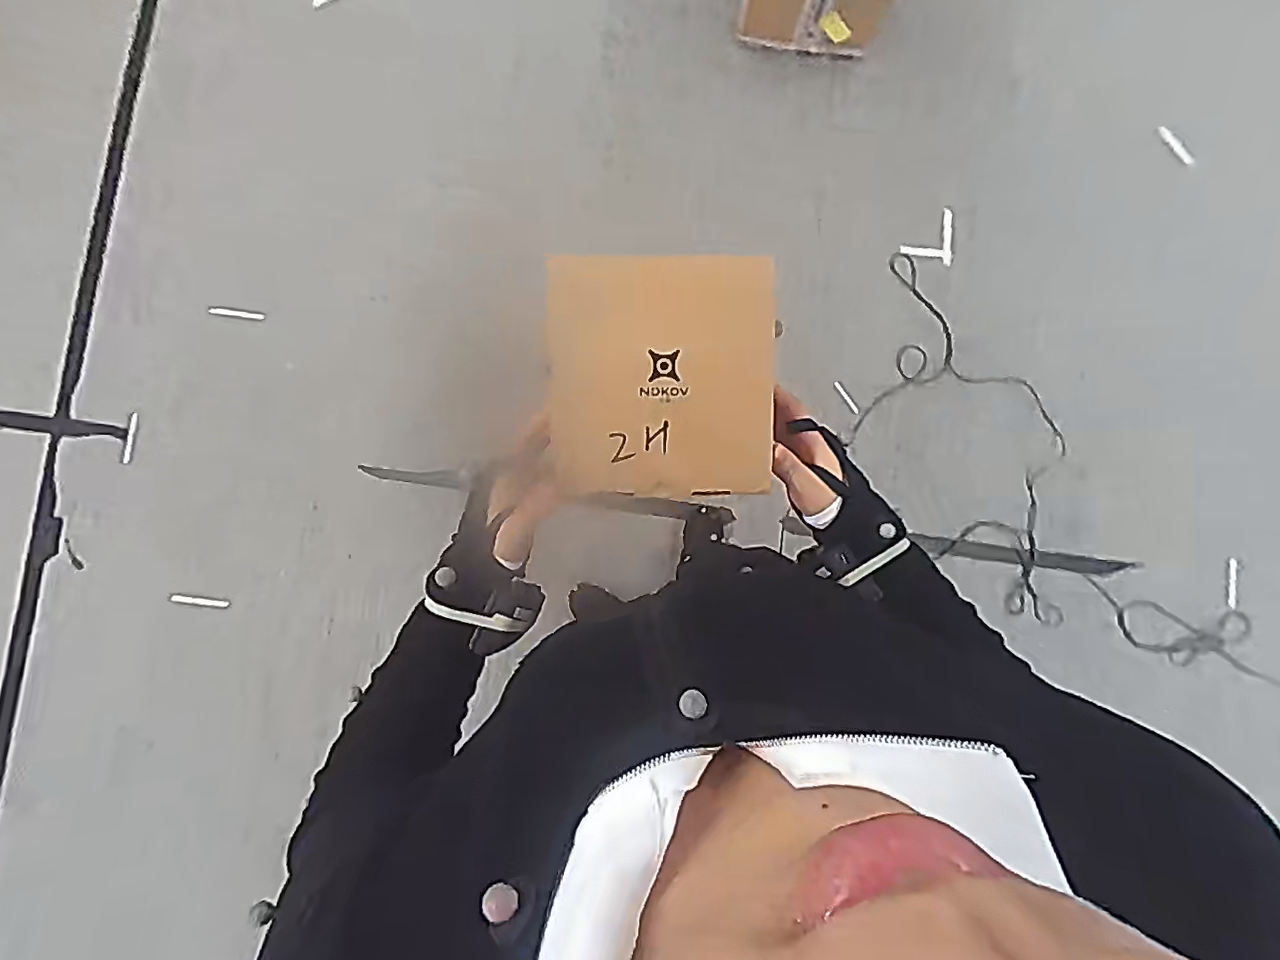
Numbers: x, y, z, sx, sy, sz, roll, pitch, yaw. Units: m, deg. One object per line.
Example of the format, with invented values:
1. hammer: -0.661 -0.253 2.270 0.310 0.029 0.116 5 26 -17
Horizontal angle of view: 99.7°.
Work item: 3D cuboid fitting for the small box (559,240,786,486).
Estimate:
1. small box: 0.020 -0.090 0.474 0.168 0.176 0.179 0 96 -2
